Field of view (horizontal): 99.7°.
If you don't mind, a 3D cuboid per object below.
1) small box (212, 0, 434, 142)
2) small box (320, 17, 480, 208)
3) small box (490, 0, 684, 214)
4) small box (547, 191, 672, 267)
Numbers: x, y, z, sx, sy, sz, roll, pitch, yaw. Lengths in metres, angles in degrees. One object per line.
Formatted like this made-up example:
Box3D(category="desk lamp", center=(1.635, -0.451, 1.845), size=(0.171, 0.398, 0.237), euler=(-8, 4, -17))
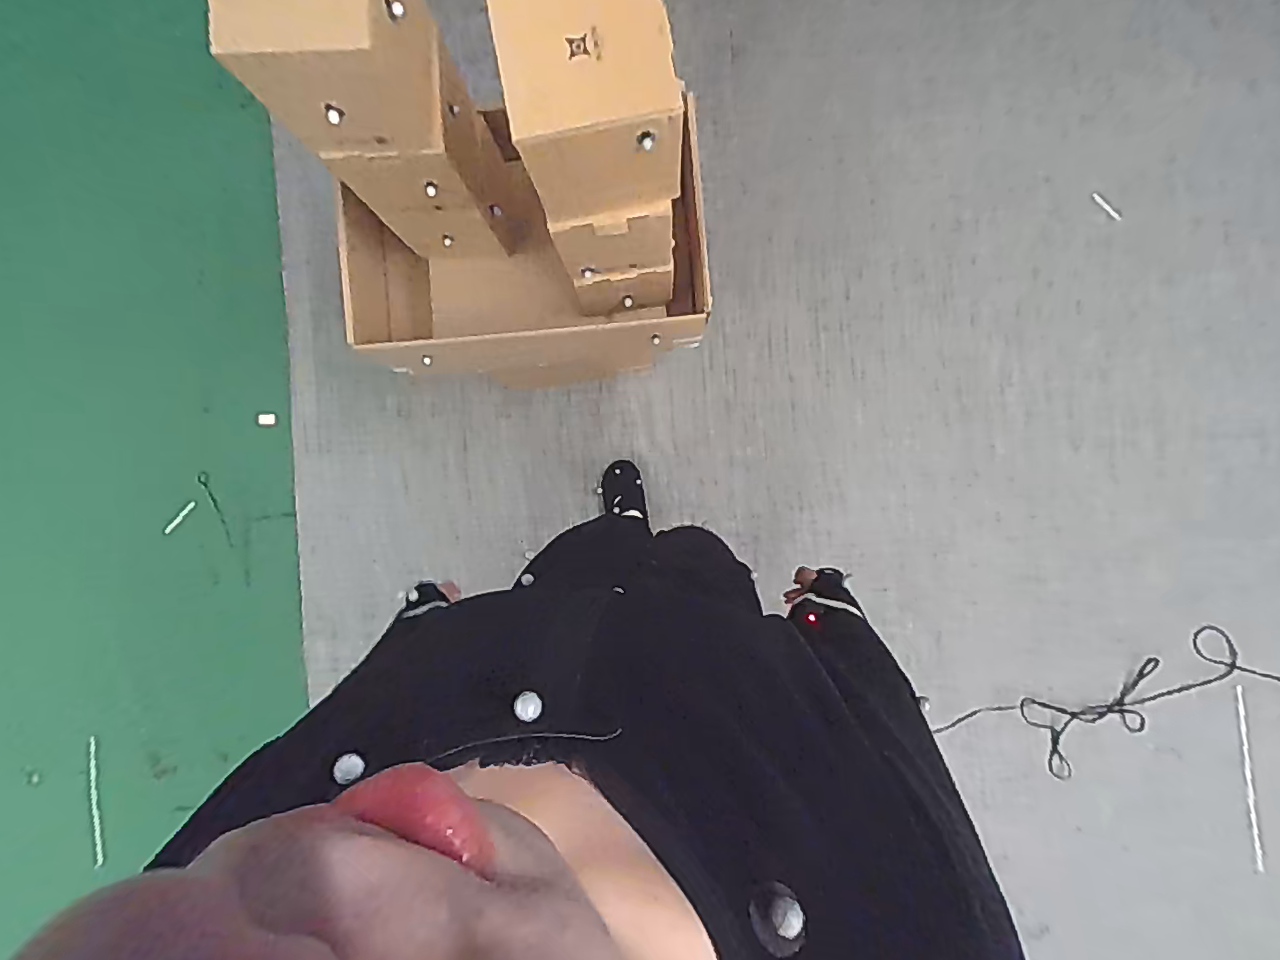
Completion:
Box3D(category="small box", center=(-0.350, -0.522, 0.627), size=(0.168, 0.176, 0.179), euler=(-1, 90, 0))
Box3D(category="small box", center=(-0.341, -0.518, 0.791), size=(0.168, 0.176, 0.179), euler=(-2, 90, 1))
Box3D(category="small box", center=(-0.050, -0.431, 0.616), size=(0.179, 0.176, 0.168), euler=(-11, 89, 1))
Box3D(category="small box", center=(-0.043, -0.423, 0.778), size=(0.168, 0.176, 0.179), euler=(-7, 90, 2))
